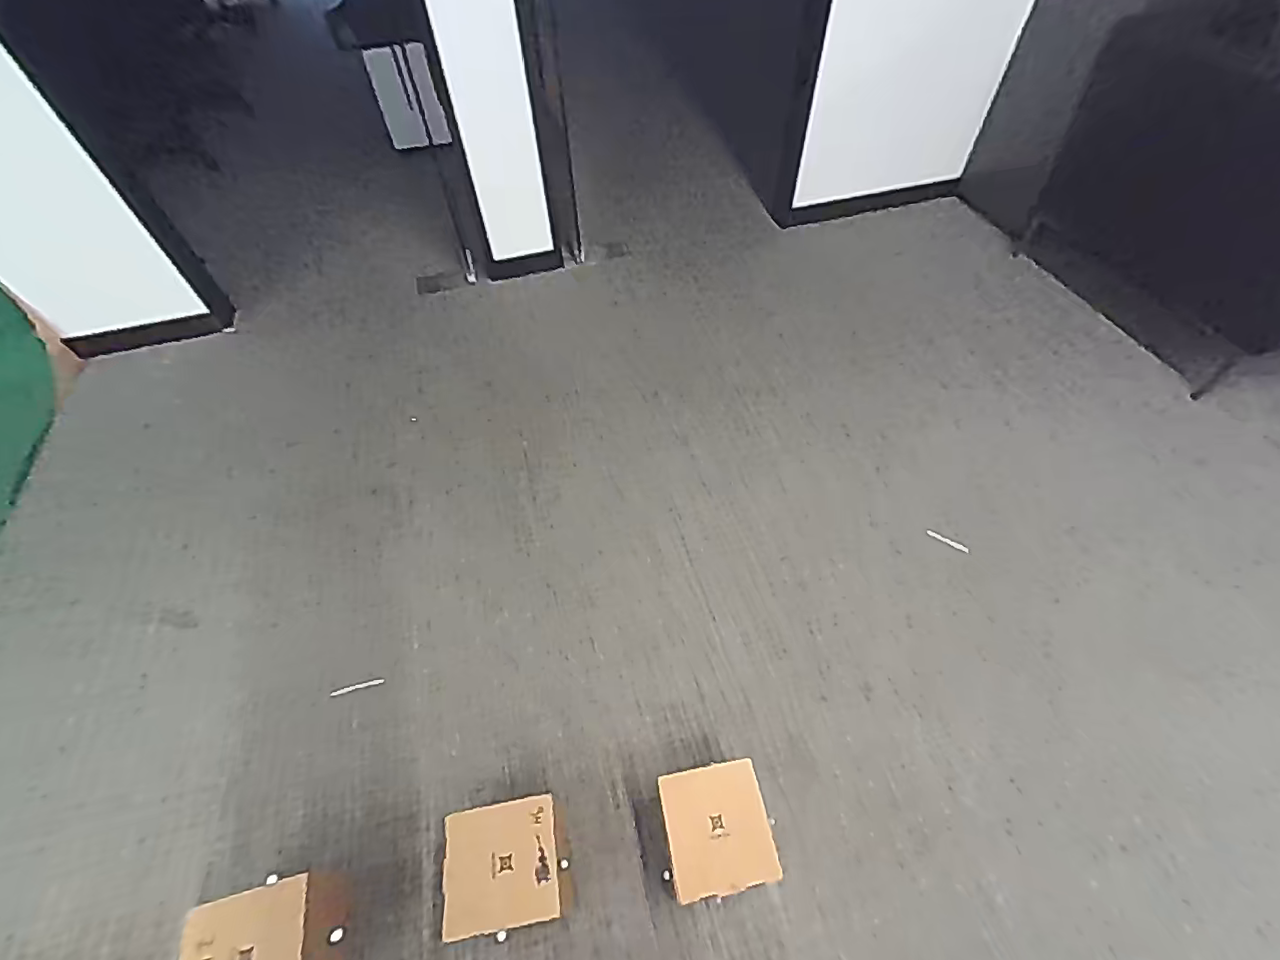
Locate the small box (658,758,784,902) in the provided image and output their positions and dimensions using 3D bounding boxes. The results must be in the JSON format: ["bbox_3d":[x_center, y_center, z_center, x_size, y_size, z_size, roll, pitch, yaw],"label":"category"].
[{"bbox_3d":[0.127,0.604,0.933,0.168,0.176,0.179,-9,54,-5],"label":"small box"}]

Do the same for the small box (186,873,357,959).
[{"bbox_3d":[-0.569,0.740,0.849,0.179,0.176,0.168,-13,53,-8],"label":"small box"}]

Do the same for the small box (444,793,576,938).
[{"bbox_3d":[-0.212,0.647,0.909,0.179,0.176,0.168,-9,53,-4],"label":"small box"}]
